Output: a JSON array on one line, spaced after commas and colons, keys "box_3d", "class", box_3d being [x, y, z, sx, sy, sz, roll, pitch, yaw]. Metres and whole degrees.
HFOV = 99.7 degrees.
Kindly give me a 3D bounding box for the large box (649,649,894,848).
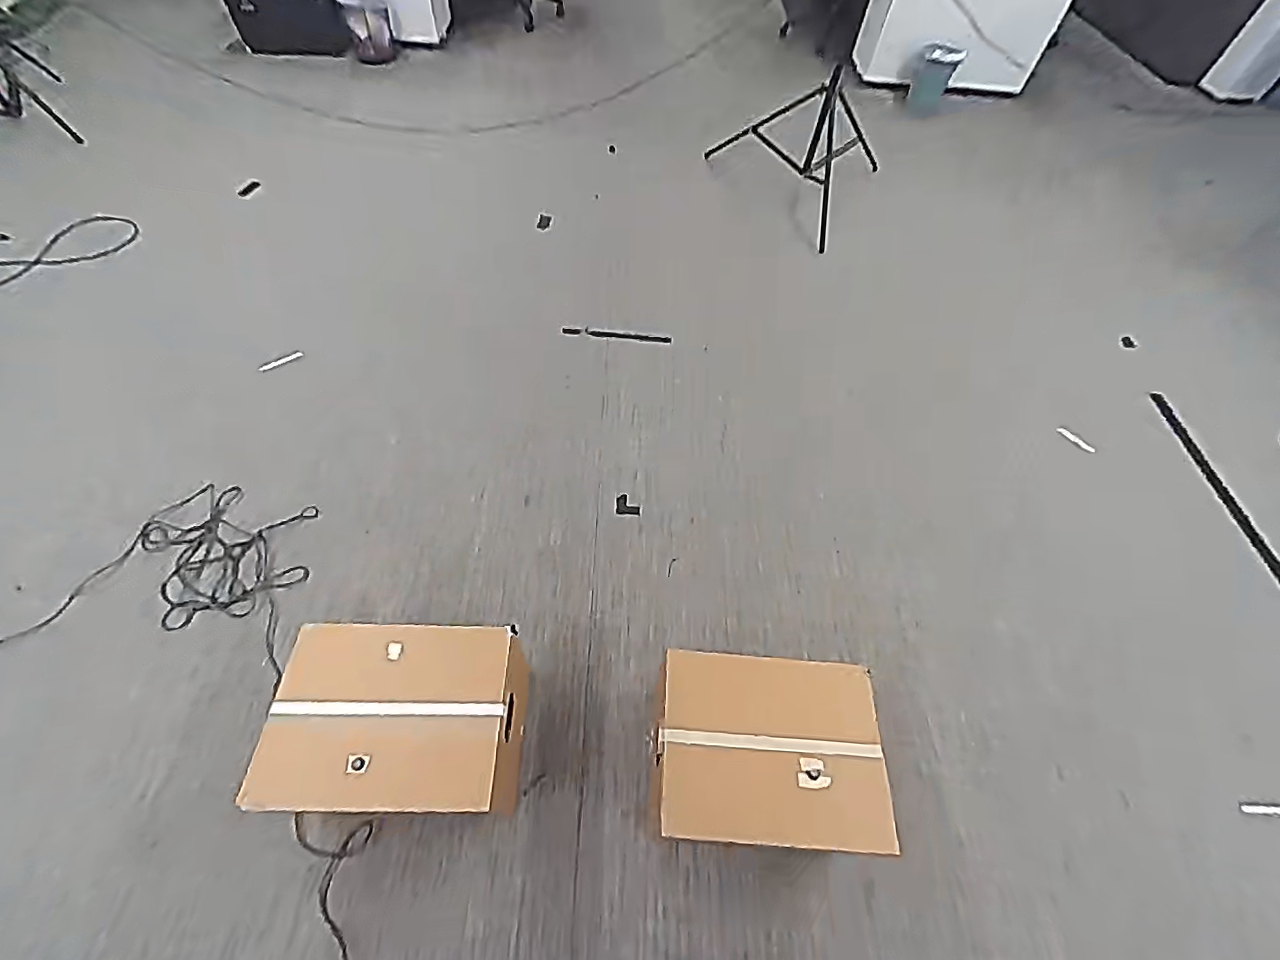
[{"box_3d": [0.233, 0.563, 1.119, 0.408, 0.320, 0.320, 6, 56, -2], "class": "large box"}]
